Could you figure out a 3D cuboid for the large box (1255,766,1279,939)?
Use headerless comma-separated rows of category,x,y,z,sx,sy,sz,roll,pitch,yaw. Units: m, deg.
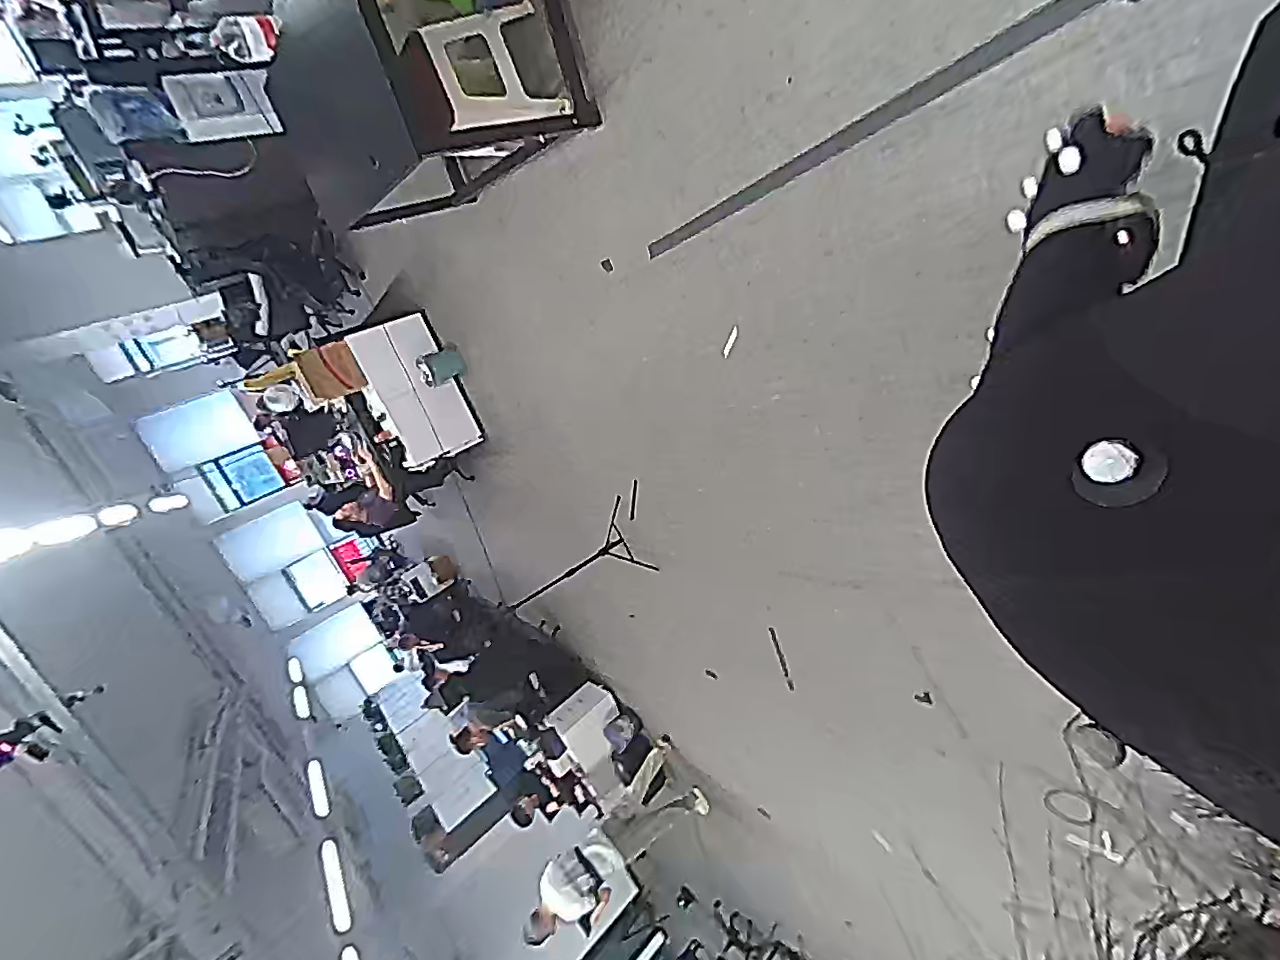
large box,1.633,0.870,1.141,0.408,0.320,0.320,10,125,50
